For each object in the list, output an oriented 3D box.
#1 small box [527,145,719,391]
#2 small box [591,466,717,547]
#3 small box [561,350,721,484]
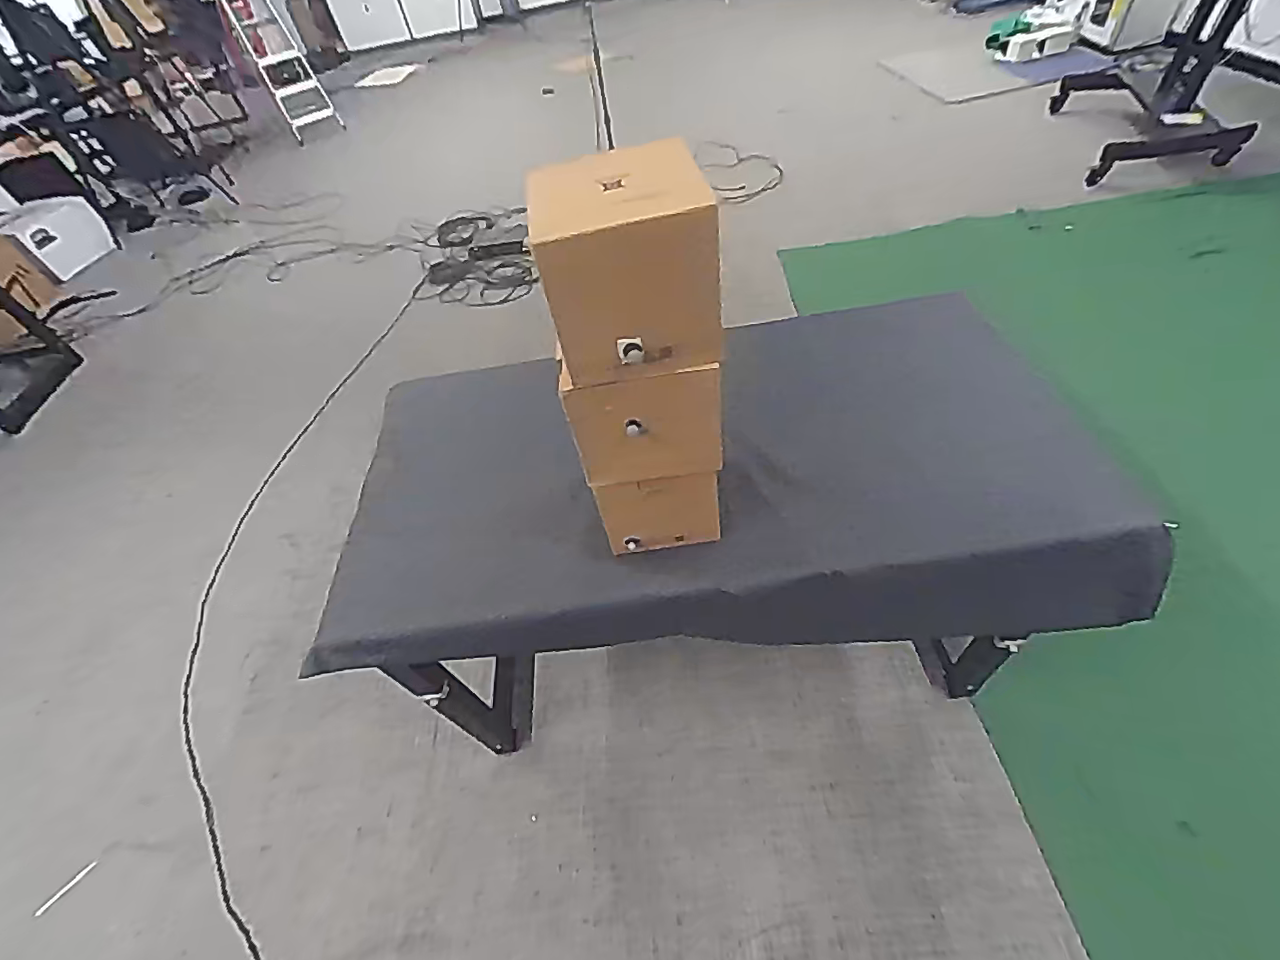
[{"bbox_3d":[-0.017,-0.223,0.579,0.168,0.176,0.179,-13,50,0],"label":"small box"},{"bbox_3d":[0.021,-0.013,0.825,0.168,0.176,0.179,-9,48,3],"label":"small box"},{"bbox_3d":[0.002,-0.113,0.700,0.179,0.176,0.168,-10,47,1],"label":"small box"}]
